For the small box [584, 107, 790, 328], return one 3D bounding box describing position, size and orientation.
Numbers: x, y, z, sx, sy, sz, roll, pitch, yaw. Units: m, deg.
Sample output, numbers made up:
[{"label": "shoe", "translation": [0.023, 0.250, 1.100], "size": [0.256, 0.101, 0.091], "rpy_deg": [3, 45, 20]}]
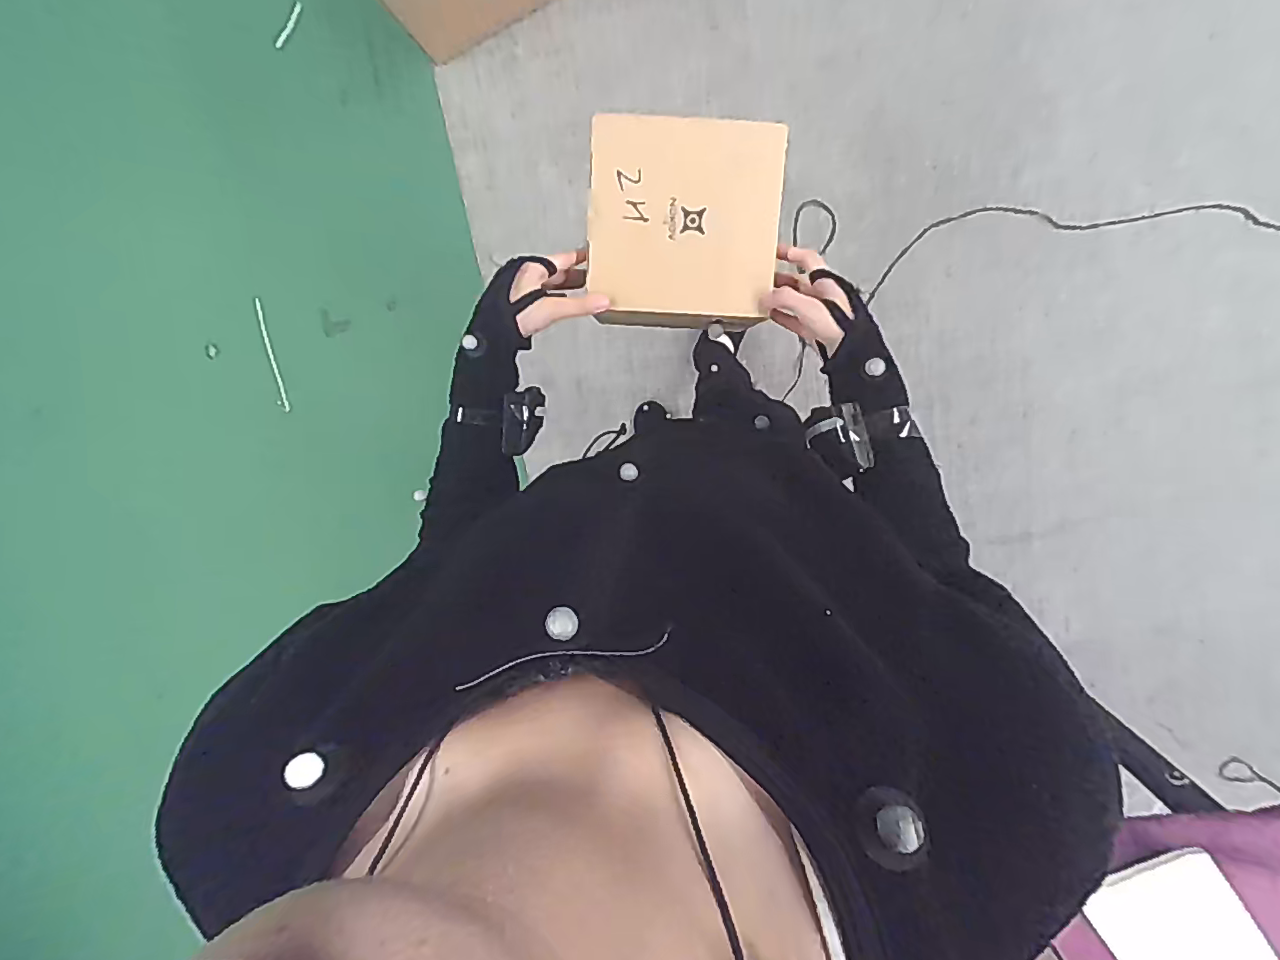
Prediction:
[{"label": "small box", "translation": [0.040, -0.252, 0.560], "size": [0.179, 0.176, 0.168], "rpy_deg": [3, 101, 0]}]
